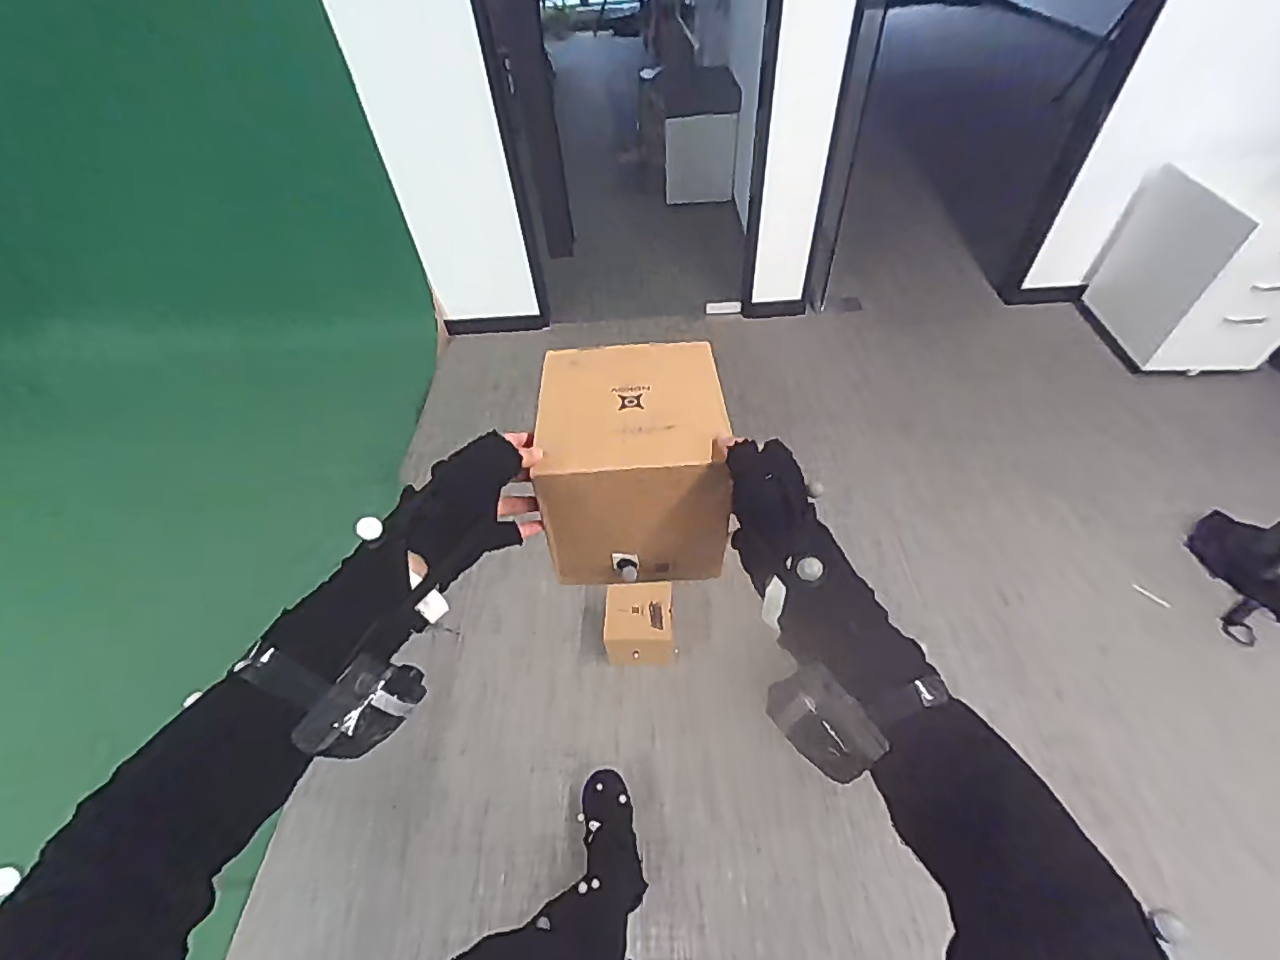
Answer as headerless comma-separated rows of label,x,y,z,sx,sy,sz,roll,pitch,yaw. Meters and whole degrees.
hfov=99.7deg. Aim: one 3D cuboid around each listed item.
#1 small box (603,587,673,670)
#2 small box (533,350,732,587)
small box,0.001,0.406,1.472,0.179,0.176,0.168,-1,48,5
small box,-0.007,-0.012,0.553,0.168,0.176,0.179,-4,45,0
